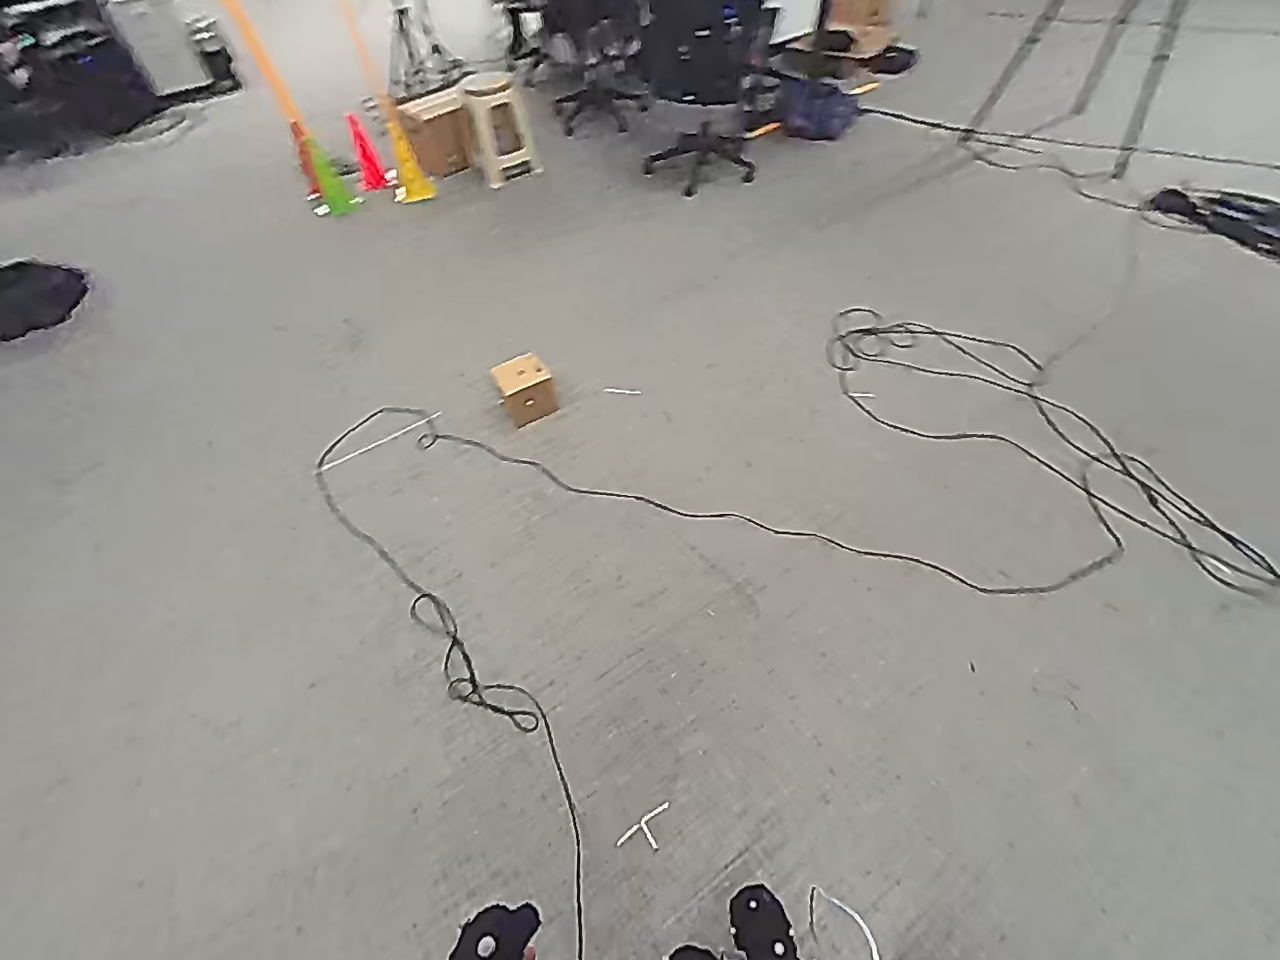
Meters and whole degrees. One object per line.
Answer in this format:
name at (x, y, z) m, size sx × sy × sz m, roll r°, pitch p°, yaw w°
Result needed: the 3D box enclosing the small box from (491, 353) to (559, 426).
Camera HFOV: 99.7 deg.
small box at (-0.416, -0.328, 1.983) m, size 0.179 × 0.176 × 0.168 m, roll -28°, pitch 57°, yaw -16°
